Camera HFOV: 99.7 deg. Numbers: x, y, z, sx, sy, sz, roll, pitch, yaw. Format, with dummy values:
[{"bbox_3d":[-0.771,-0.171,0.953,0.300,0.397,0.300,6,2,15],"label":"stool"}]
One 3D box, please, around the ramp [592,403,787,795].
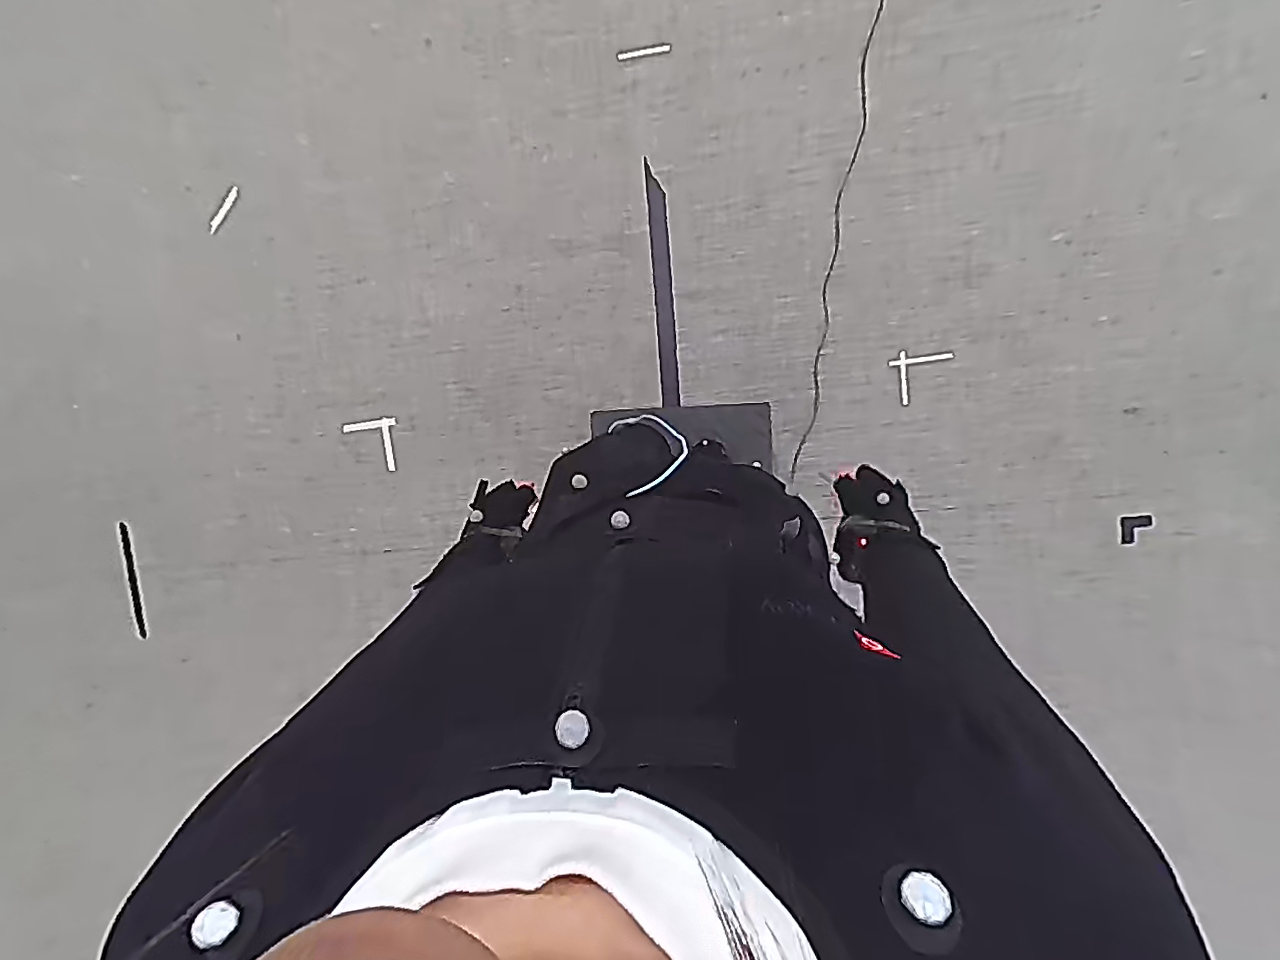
[{"bbox_3d":[0.114,0.298,1.434,0.509,0.206,0.991,-4,94,10],"label":"ramp"}]
